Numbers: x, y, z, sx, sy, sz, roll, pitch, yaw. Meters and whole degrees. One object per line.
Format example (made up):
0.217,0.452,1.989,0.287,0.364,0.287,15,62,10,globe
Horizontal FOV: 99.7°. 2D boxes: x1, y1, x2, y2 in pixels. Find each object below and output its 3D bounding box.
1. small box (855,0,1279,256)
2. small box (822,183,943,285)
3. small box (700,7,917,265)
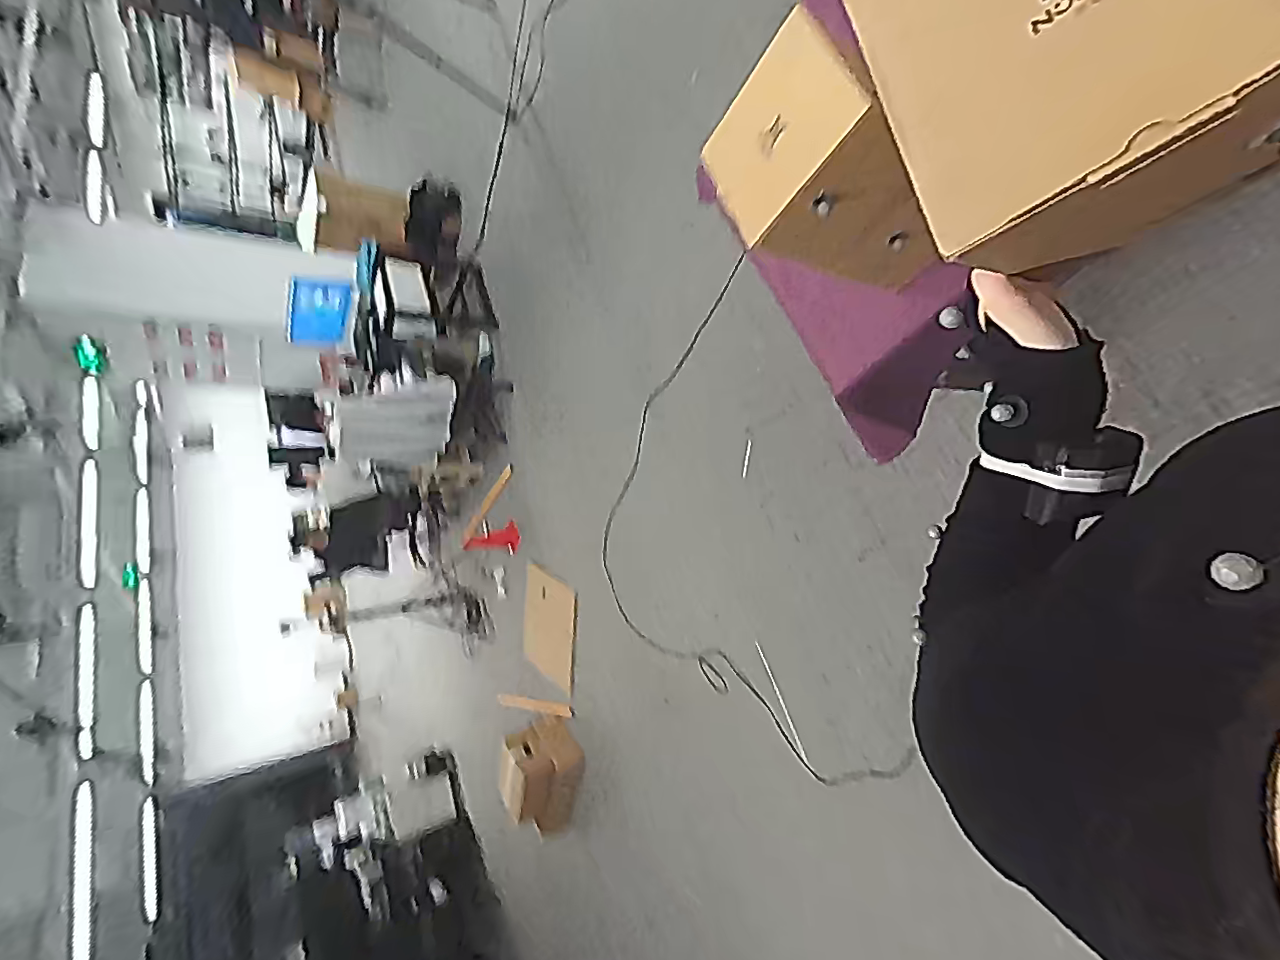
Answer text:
0.242,-0.233,0.272,0.168,0.176,0.179,-23,82,52,small box
0.337,-0.394,0.743,0.179,0.176,0.168,-42,61,46,small box
0.209,-0.386,0.641,0.179,0.176,0.168,-44,60,47,small box
